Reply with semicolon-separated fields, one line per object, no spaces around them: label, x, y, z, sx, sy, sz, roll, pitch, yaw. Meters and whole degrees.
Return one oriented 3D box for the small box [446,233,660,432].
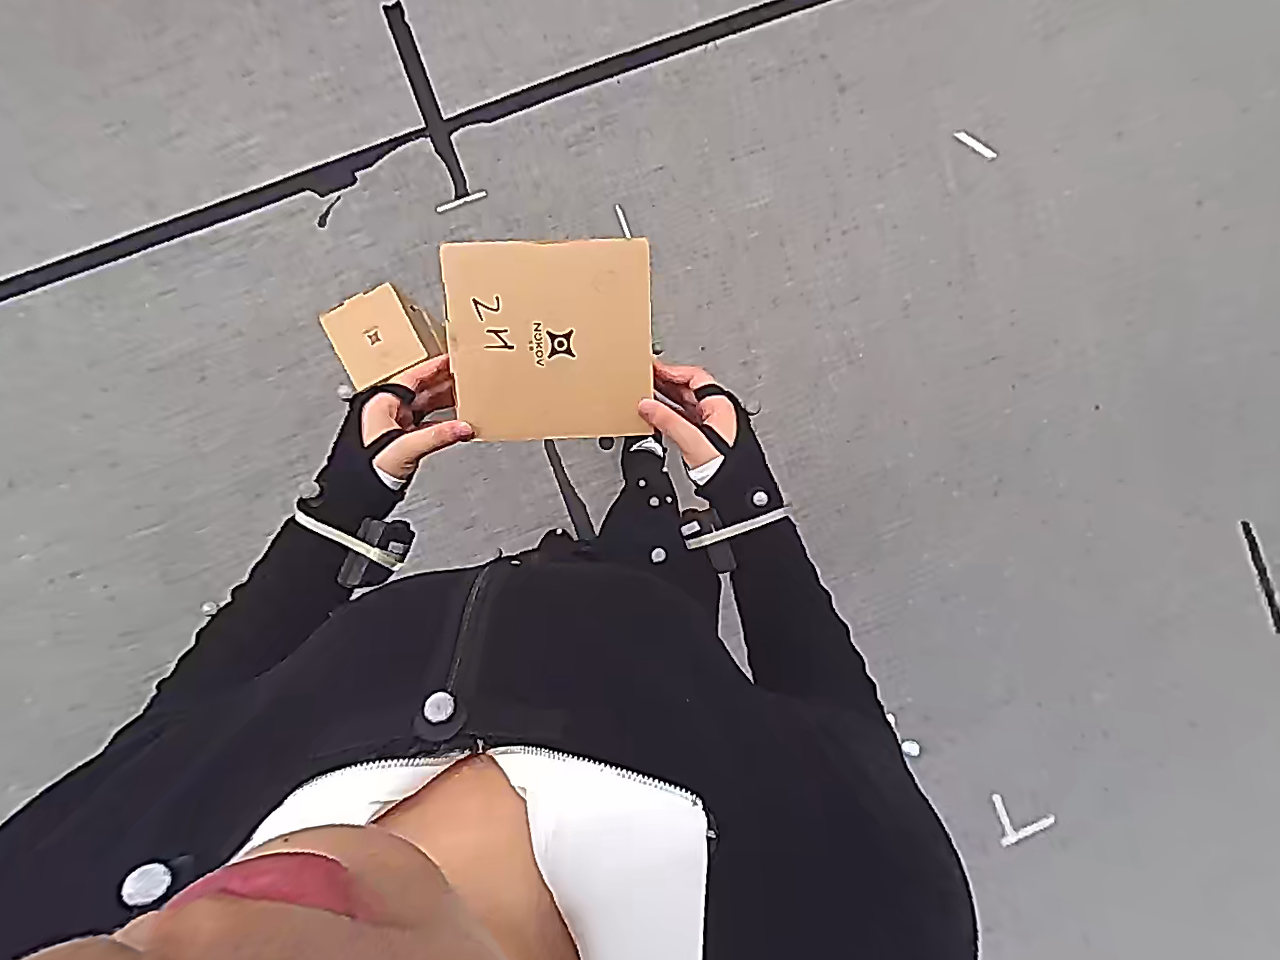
small box;-0.075;-0.142;0.541;0.179;0.176;0.168;-2;102;-1

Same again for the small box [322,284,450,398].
small box;-0.550;-0.297;1.196;0.168;0.176;0.179;-27;94;-1

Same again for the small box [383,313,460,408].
small box;-0.556;-0.292;1.359;0.179;0.176;0.168;-24;93;-3
